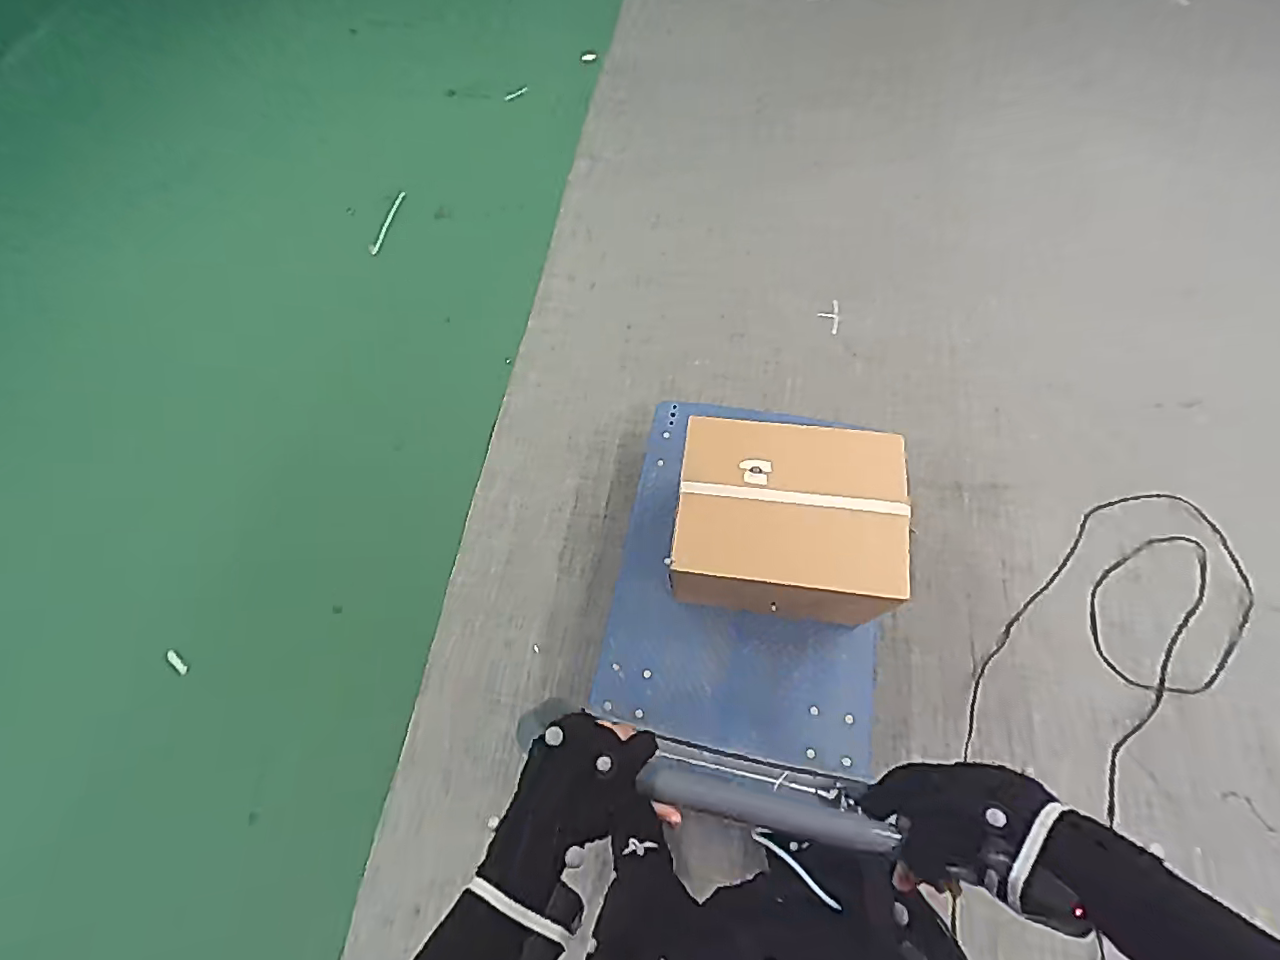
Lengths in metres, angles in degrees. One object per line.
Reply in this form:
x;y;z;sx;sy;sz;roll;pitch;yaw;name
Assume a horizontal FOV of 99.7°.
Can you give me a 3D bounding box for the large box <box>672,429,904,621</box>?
0.289;0.106;1.133;0.408;0.320;0.320;4;67;9;large box
